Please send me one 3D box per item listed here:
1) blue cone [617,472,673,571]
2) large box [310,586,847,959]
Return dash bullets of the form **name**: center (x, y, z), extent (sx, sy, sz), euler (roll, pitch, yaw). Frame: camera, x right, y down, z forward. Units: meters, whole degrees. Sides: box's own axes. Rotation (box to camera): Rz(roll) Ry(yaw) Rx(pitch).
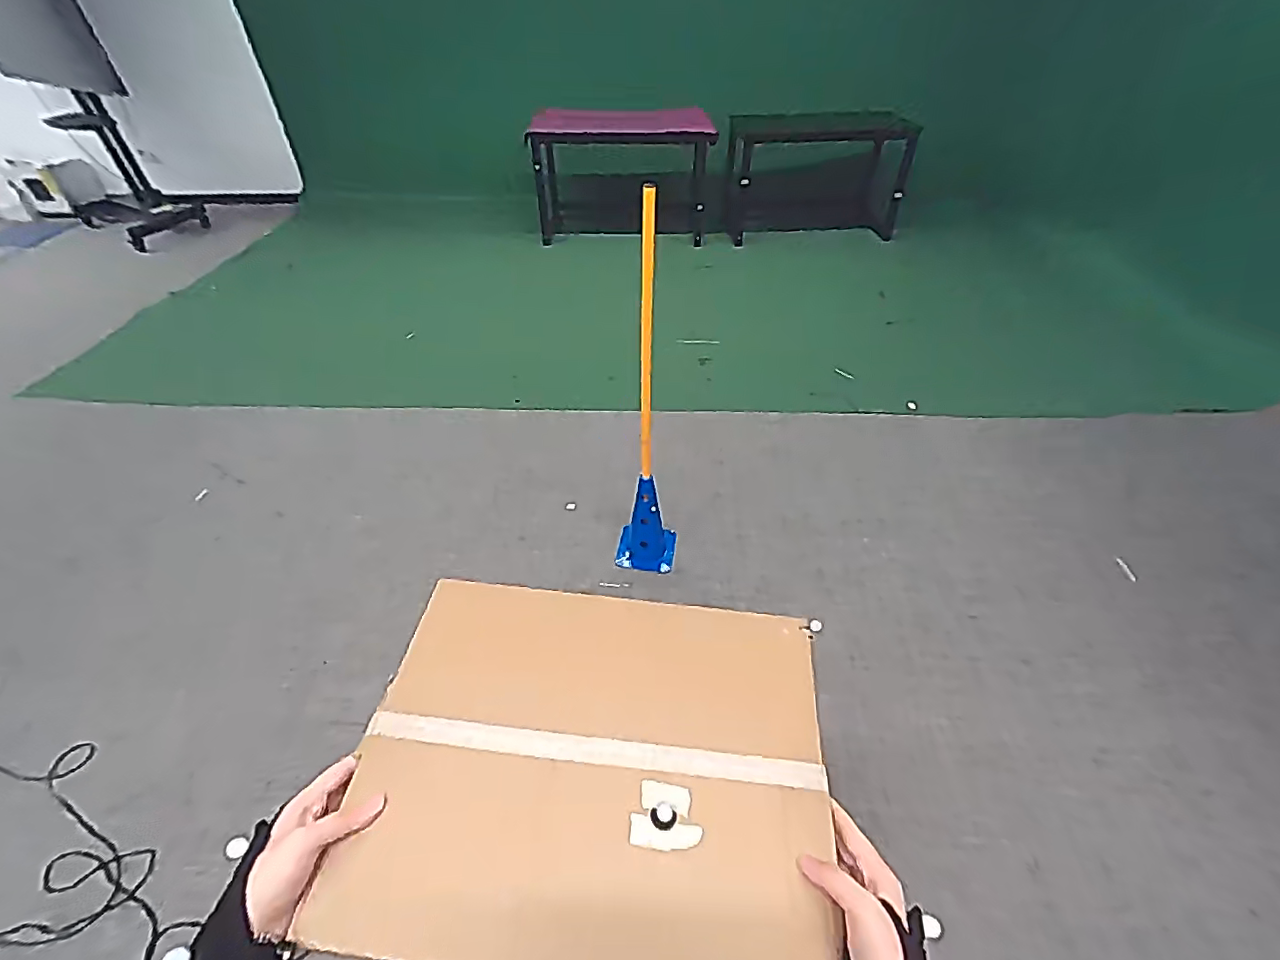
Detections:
- **blue cone**: center (0.019, 0.129, 1.847), extent (0.193, 0.380, 0.192), euler (8, 43, 8)
- **large box**: center (-0.040, 0.347, 0.598), extent (0.408, 0.320, 0.320), euler (6, 47, 3)
